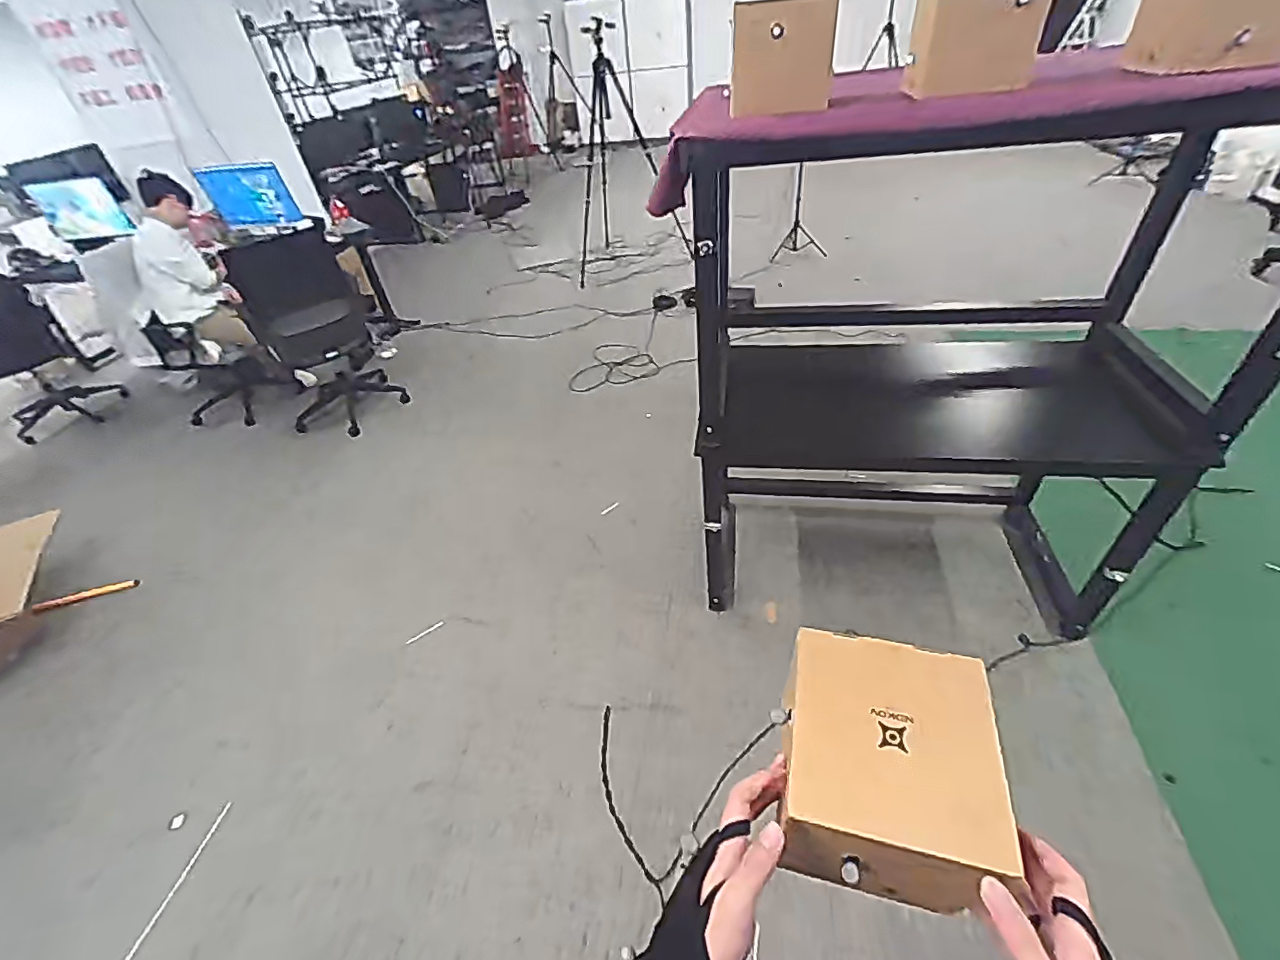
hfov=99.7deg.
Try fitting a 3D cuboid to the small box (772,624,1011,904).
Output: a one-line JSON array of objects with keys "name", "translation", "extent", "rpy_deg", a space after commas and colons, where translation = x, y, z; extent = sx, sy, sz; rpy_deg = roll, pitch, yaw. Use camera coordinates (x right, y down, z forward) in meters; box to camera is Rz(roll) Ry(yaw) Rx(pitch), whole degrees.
[{"name": "small box", "translation": [0.219, 0.269, 0.517], "extent": [0.168, 0.176, 0.179], "rpy_deg": [6, 44, 15]}]

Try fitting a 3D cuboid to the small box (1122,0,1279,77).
[{"name": "small box", "translation": [0.950, -0.774, 0.876], "extent": [0.179, 0.176, 0.168], "rpy_deg": [1, 39, 11]}]

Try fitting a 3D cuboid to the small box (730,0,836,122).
[{"name": "small box", "translation": [0.258, -0.784, 1.010], "extent": [0.179, 0.176, 0.168], "rpy_deg": [0, 41, 9]}]

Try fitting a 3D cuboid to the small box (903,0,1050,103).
[{"name": "small box", "translation": [0.585, -0.784, 0.953], "extent": [0.179, 0.176, 0.168], "rpy_deg": [2, 41, 12]}]
